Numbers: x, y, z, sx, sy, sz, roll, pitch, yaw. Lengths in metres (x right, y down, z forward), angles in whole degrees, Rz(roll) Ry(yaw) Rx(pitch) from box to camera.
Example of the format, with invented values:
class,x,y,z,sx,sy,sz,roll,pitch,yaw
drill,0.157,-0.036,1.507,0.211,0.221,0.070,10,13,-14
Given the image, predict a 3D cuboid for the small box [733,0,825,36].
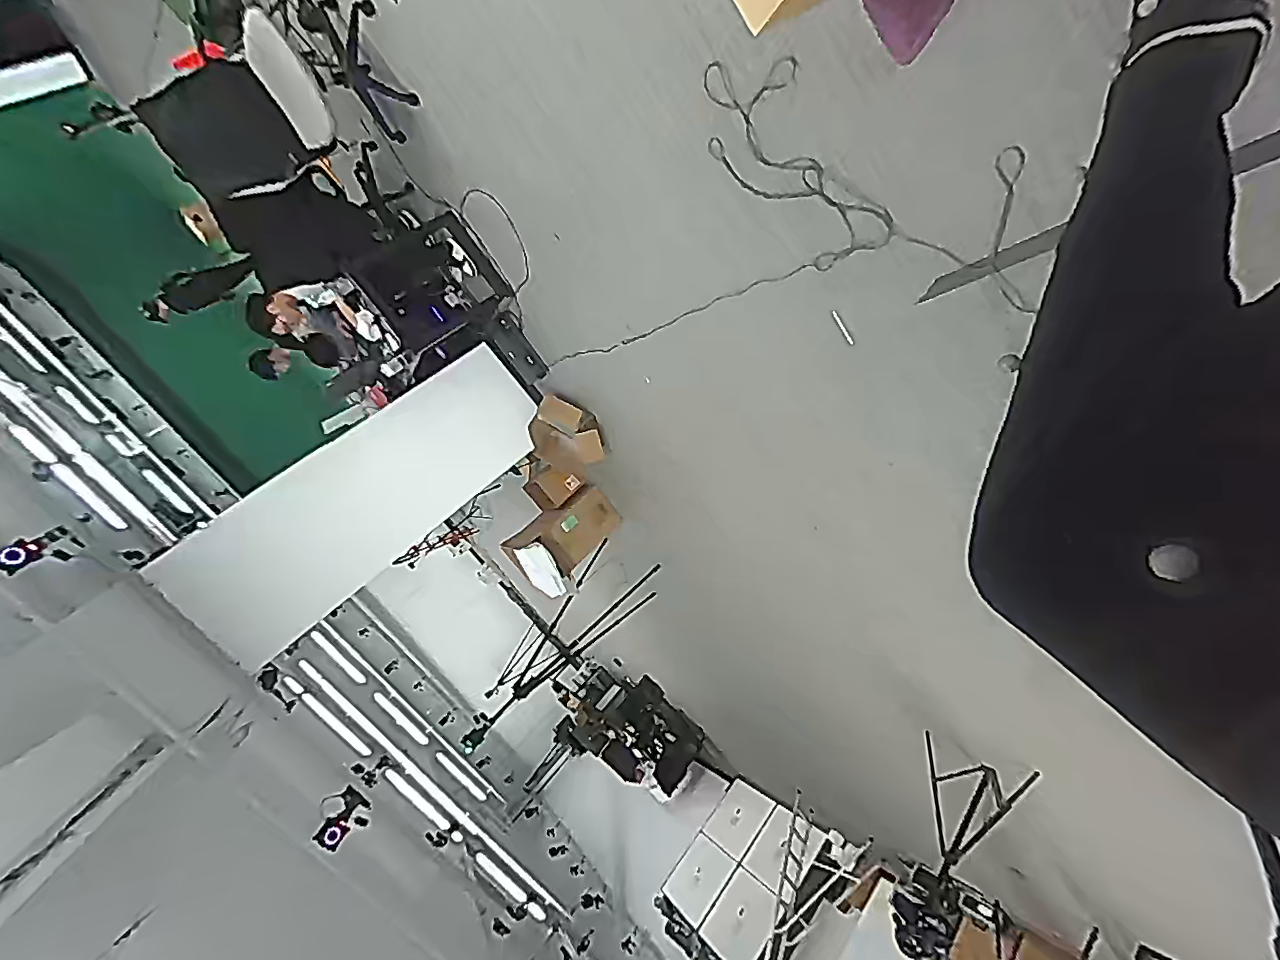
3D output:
class,x,y,z,sx,sy,sz,roll,pitch,yaw
small box,0.184,-0.655,0.595,0.168,0.176,0.179,52,154,-12
